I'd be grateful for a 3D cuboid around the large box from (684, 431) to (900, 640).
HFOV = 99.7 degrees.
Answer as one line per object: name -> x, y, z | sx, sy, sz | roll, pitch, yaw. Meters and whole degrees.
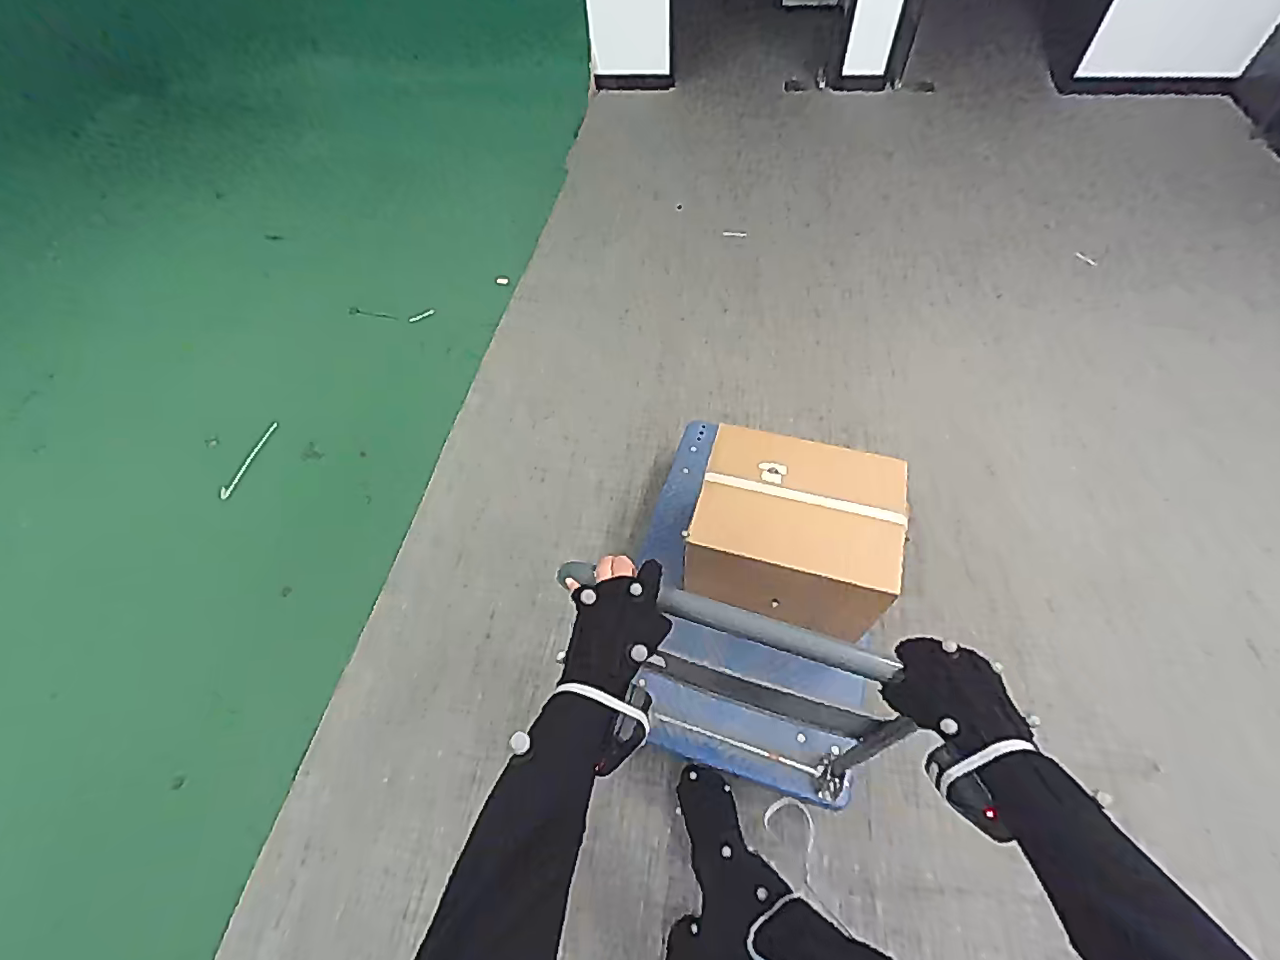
large box -> 0.333, 0.130, 1.233 | 0.408, 0.320, 0.320 | 13, 58, 13
